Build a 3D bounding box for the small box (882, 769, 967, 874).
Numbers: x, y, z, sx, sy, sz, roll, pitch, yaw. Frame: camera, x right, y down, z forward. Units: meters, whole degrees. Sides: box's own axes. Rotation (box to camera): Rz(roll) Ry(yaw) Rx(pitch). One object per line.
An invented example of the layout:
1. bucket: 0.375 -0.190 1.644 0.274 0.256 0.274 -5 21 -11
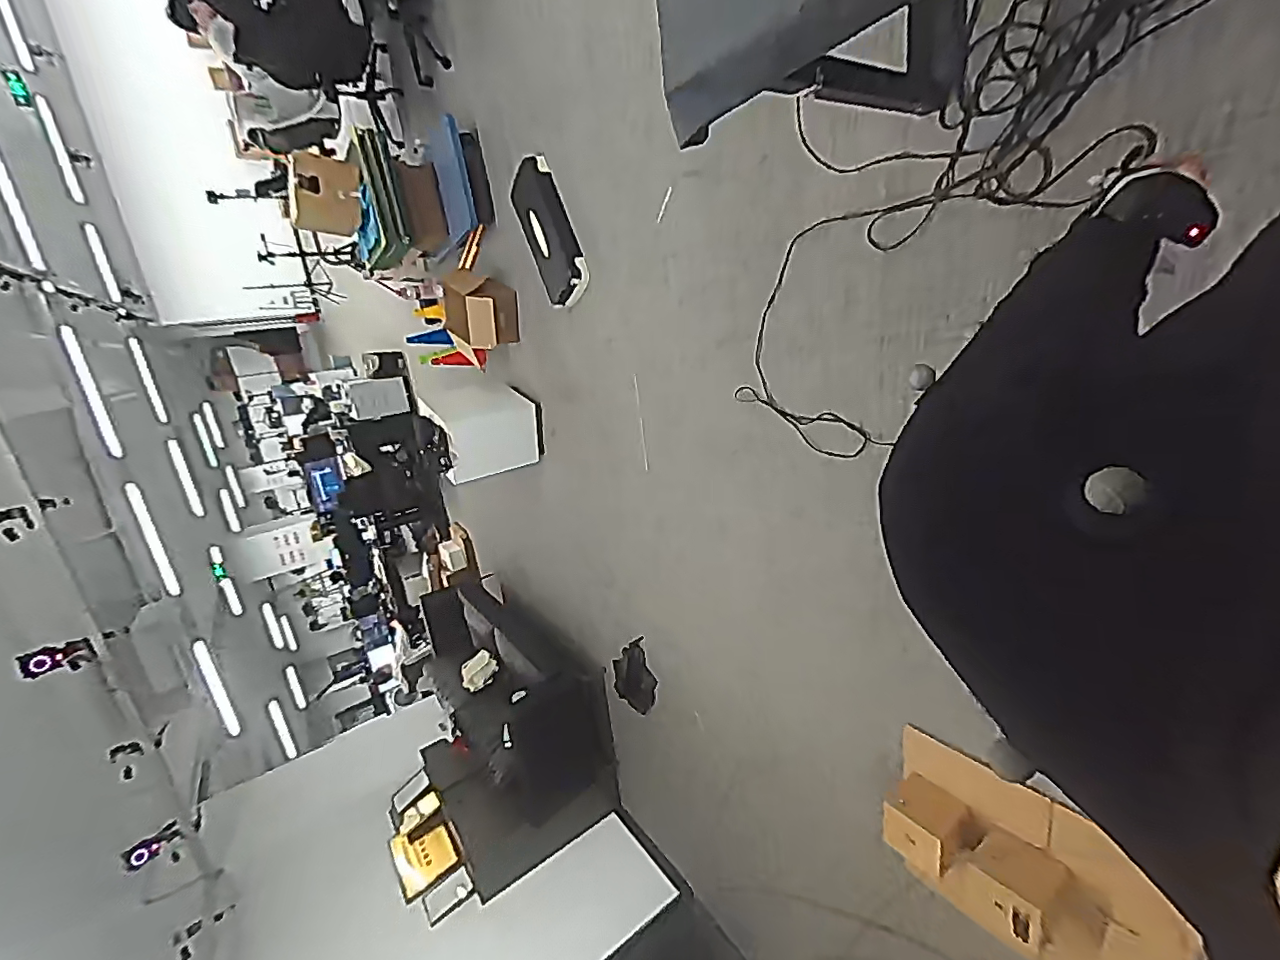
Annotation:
1. small box: 0.868 1.029 1.649 0.179 0.176 0.168 17 120 53
